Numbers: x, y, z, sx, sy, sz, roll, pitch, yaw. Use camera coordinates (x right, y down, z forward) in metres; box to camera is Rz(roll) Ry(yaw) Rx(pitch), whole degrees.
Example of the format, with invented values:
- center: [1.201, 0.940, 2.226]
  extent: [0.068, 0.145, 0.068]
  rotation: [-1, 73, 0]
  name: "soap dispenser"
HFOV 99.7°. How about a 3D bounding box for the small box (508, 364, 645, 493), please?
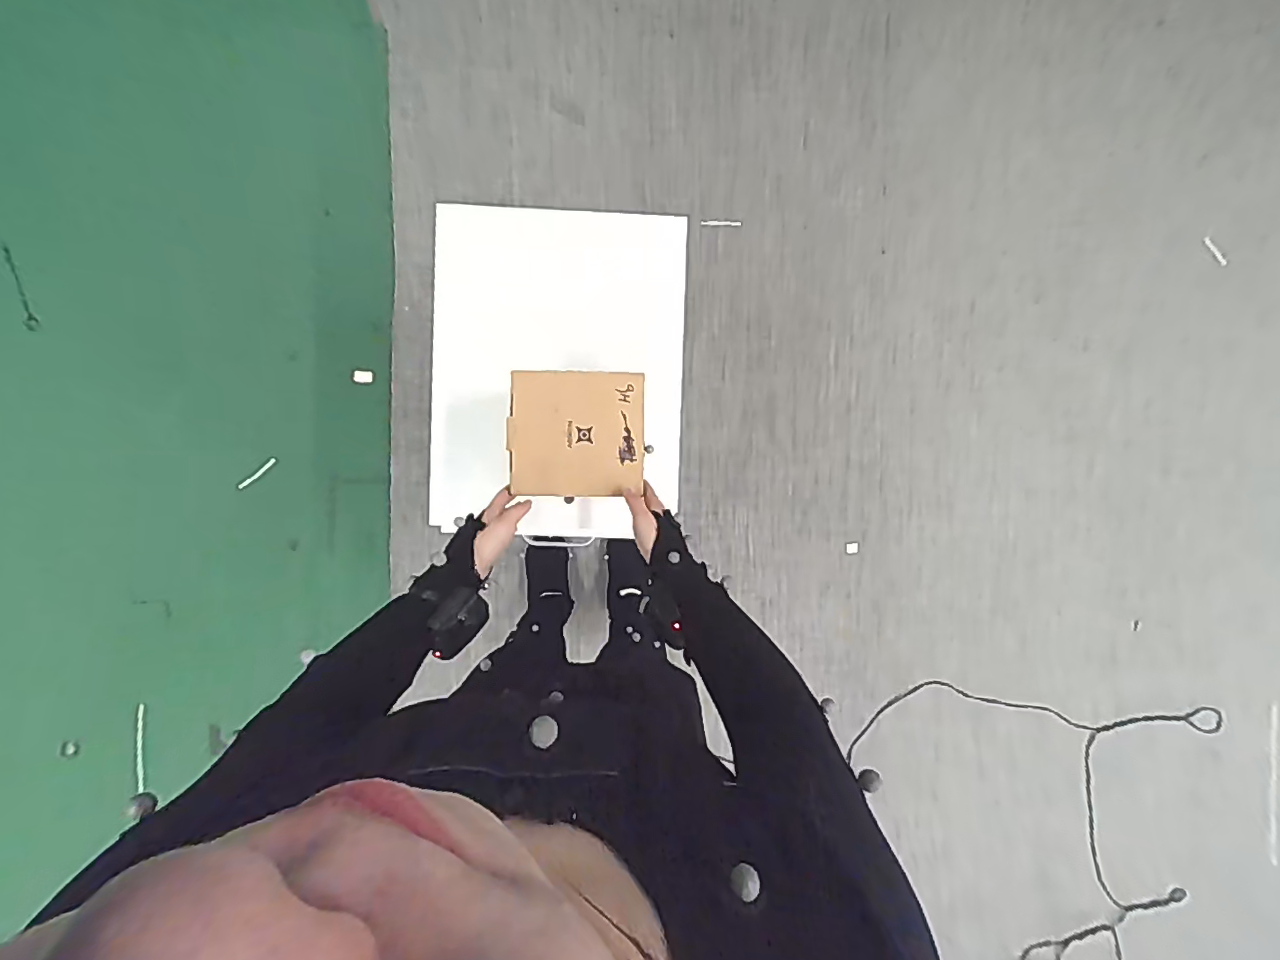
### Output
- center: [-0.085, -0.067, 0.780]
  extent: [0.179, 0.176, 0.168]
  rotation: [1, 91, -3]
  name: "small box"
